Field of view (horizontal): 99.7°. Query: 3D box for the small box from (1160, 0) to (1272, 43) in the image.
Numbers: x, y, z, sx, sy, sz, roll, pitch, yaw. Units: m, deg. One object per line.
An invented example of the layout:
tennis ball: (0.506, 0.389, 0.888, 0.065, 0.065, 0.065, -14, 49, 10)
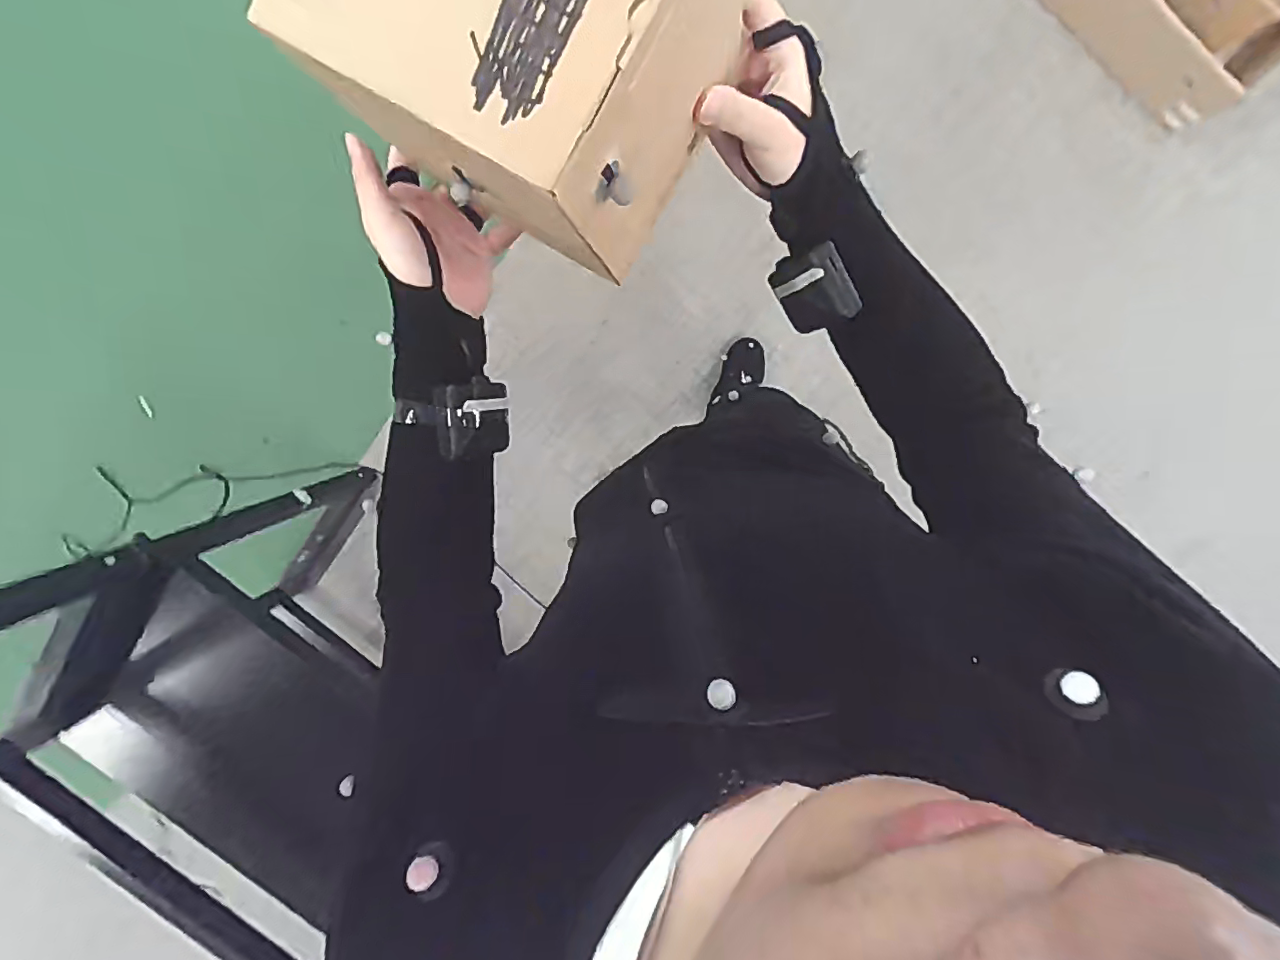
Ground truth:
small box: (1.240, -1.067, 1.112, 0.168, 0.176, 0.179, 41, 105, -4)
